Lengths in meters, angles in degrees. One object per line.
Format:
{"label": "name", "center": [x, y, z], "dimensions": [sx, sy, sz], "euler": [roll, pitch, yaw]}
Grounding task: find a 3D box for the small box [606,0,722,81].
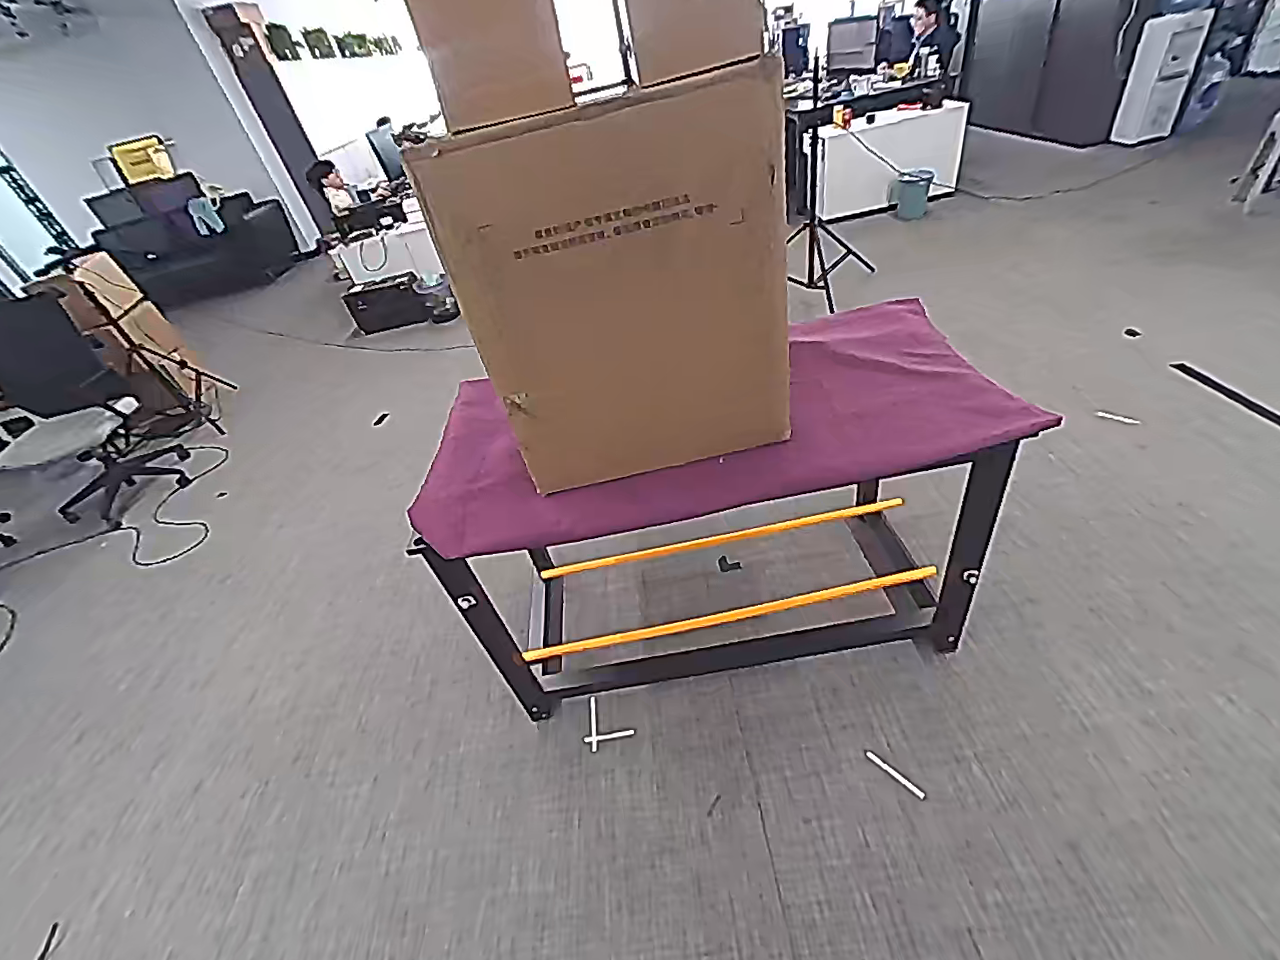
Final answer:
{"label": "small box", "center": [0.032, -0.770, 0.880], "dimensions": [0.168, 0.176, 0.179], "euler": [-12, 39, 4]}
